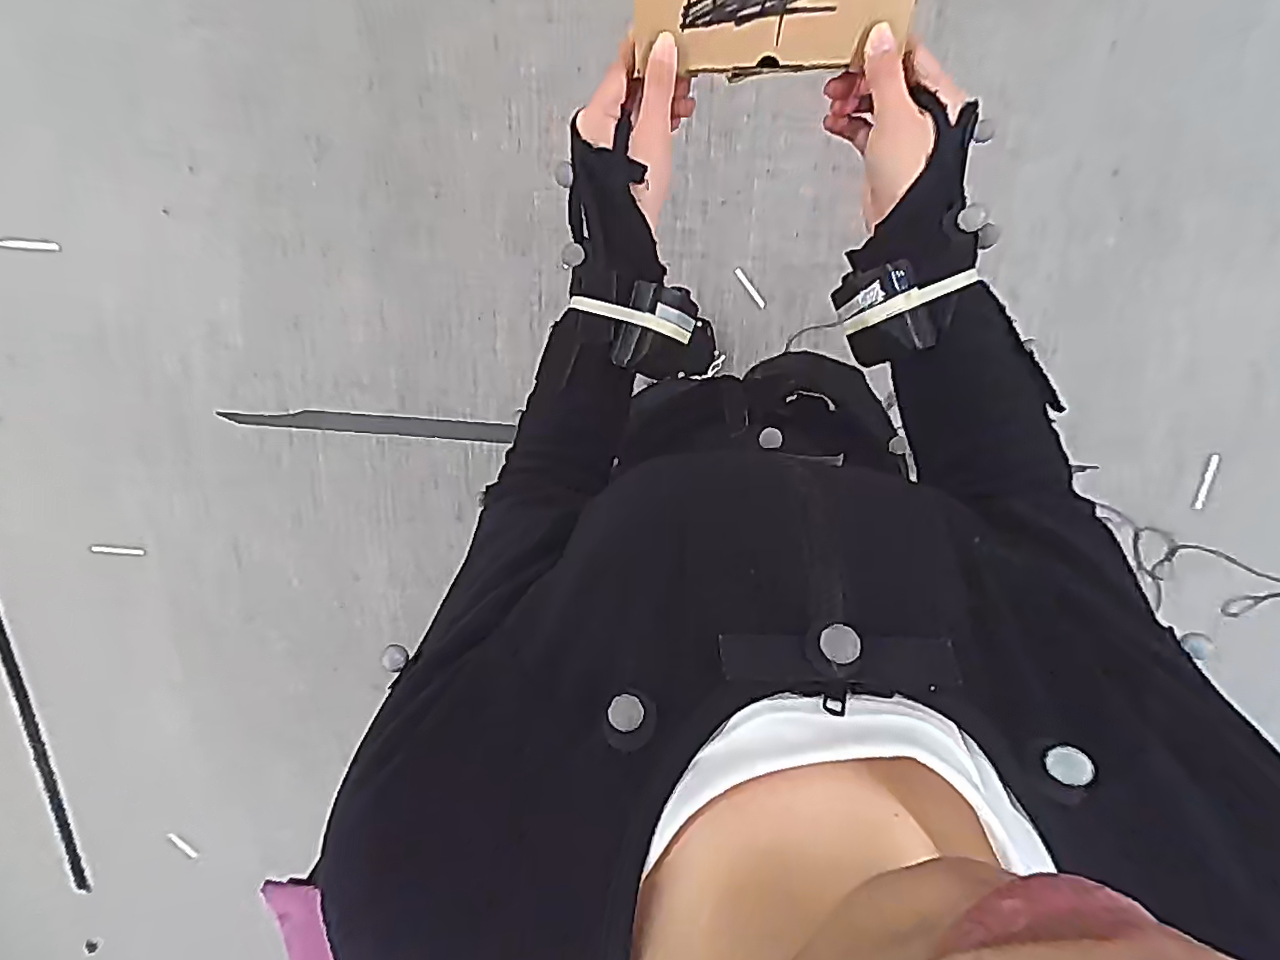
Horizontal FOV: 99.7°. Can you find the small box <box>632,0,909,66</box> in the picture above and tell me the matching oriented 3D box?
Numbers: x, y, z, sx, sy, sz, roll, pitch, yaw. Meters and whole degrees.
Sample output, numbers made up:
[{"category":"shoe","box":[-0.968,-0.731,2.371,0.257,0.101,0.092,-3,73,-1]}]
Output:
[{"category":"small box","box":[0.081,-0.379,0.349,0.168,0.176,0.179,0,126,3]}]
